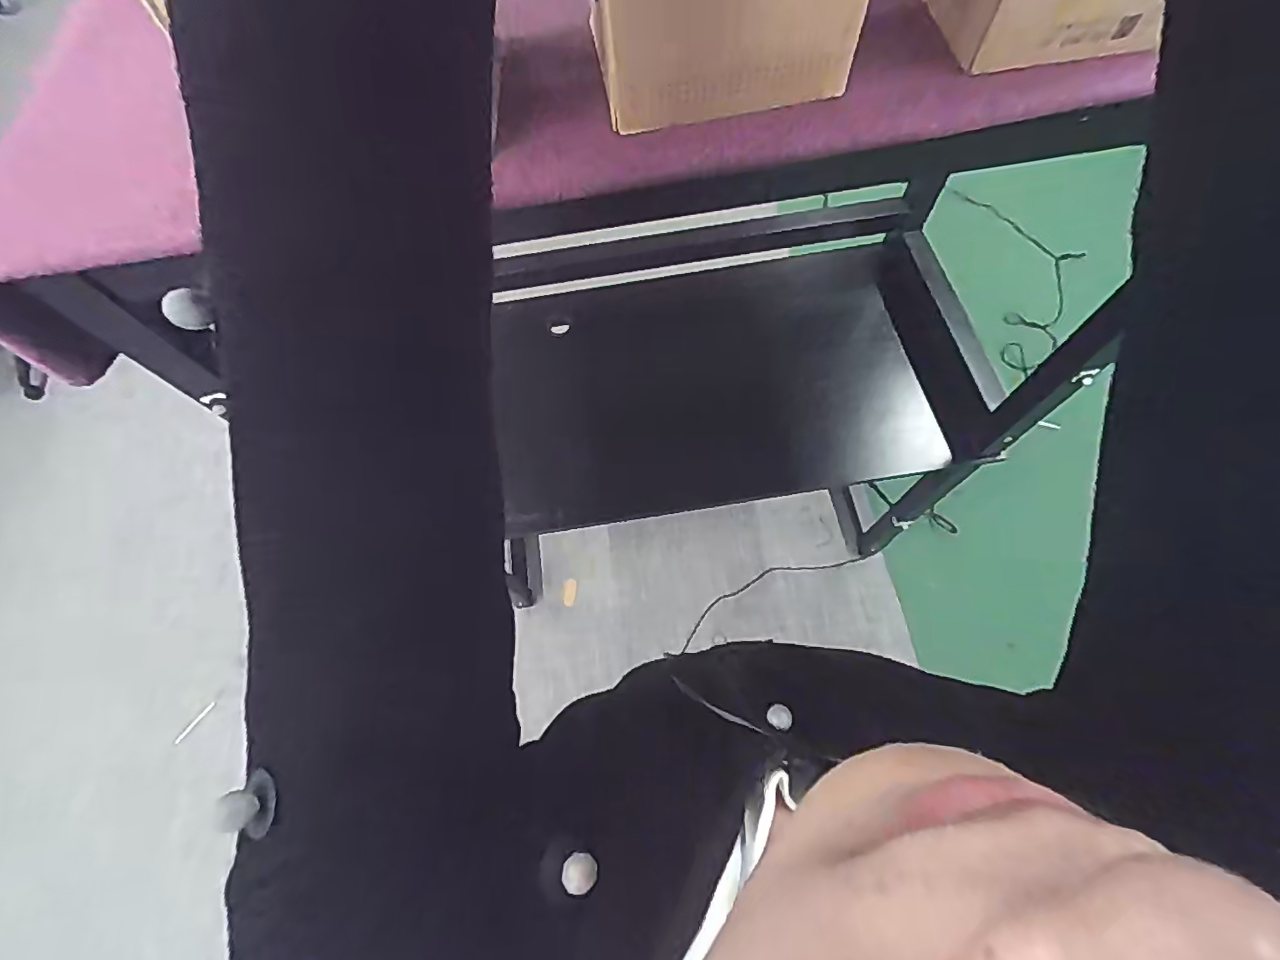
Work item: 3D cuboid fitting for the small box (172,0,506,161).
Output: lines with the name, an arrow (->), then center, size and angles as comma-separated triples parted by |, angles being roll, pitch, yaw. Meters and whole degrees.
small box -> -0.206, -0.351, 0.374 | 0.179, 0.176, 0.168 | -4, 65, 1

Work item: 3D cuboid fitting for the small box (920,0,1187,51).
small box -> 0.306, -0.431, 0.371 | 0.168, 0.176, 0.179 | -7, 65, 1
